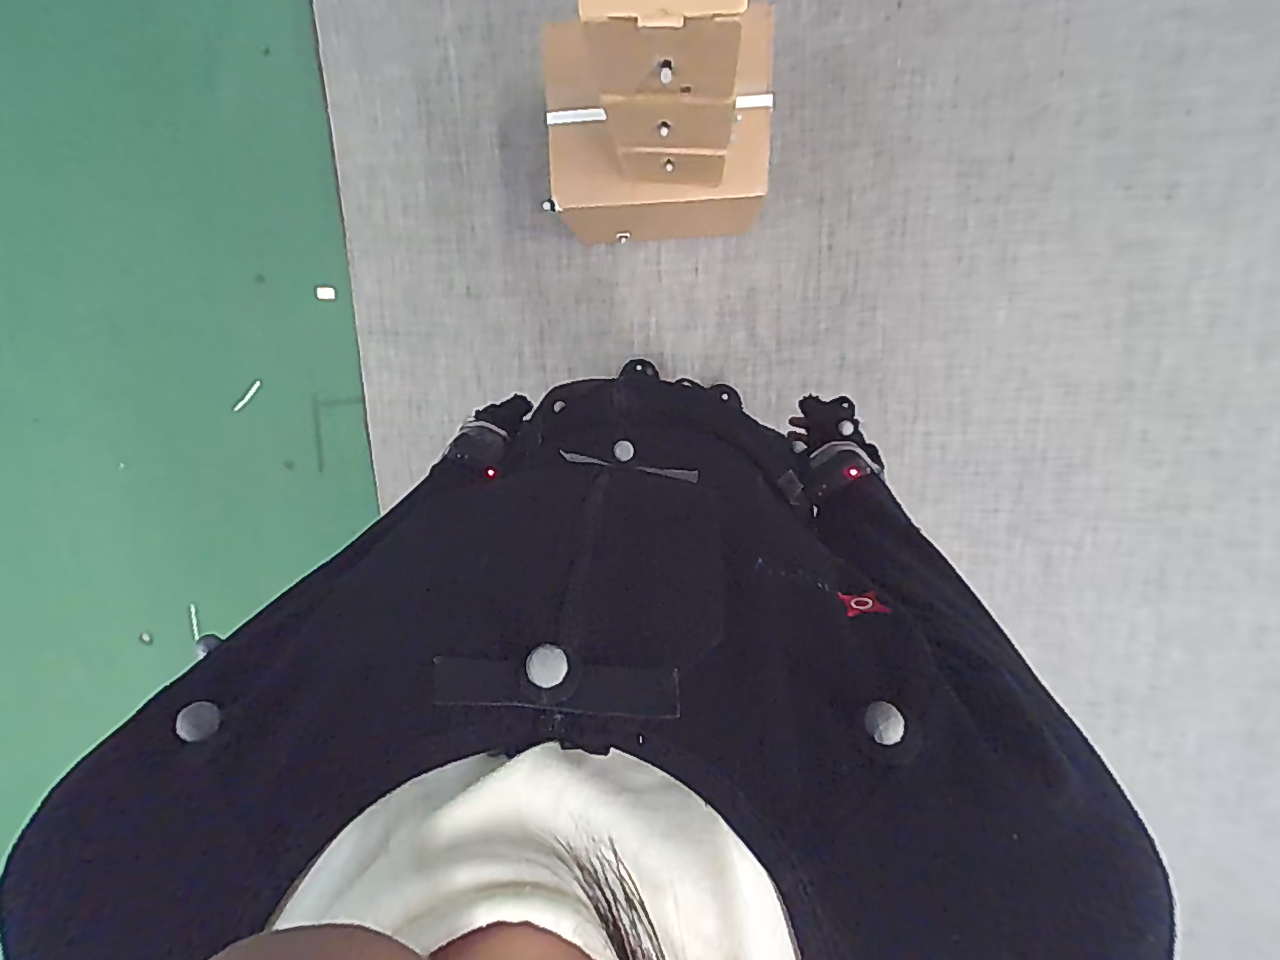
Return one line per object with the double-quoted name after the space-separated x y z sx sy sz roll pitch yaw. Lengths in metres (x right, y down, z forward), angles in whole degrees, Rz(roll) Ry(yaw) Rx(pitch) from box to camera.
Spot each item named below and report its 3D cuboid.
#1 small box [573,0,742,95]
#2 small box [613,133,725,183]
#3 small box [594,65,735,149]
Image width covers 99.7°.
0.029 -0.545 0.582 0.168 0.176 0.179 5 105 5 "small box"
0.055 -0.610 0.902 0.179 0.176 0.168 5 105 3 "small box"
0.042 -0.576 0.743 0.179 0.176 0.168 5 105 7 "small box"
